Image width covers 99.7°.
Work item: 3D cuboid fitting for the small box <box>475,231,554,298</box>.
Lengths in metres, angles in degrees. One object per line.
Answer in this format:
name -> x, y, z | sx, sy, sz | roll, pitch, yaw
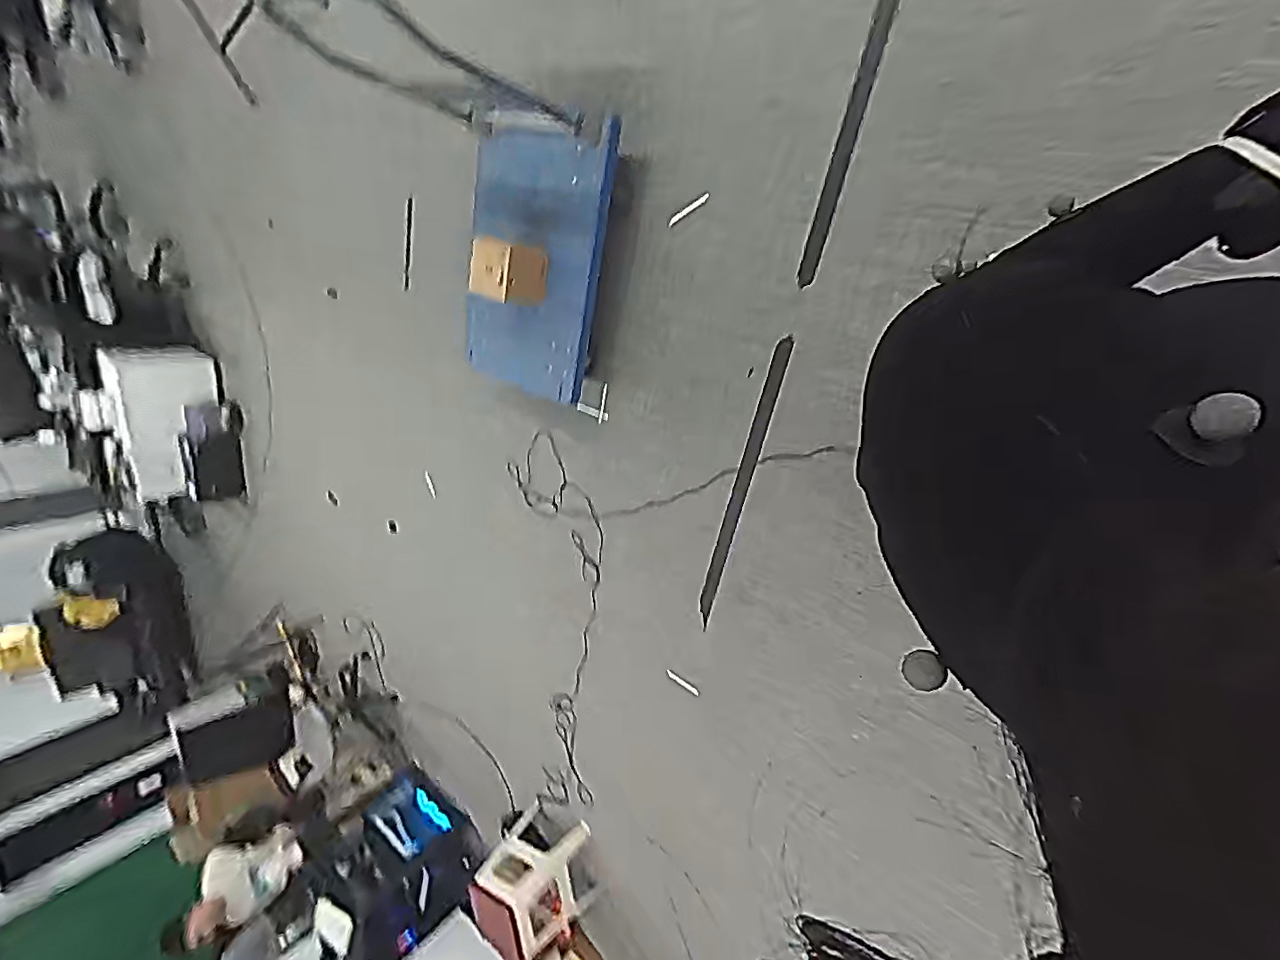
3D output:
small box -> -0.405, -0.690, 1.742 | 0.179, 0.176, 0.168 | 28, 118, 30
